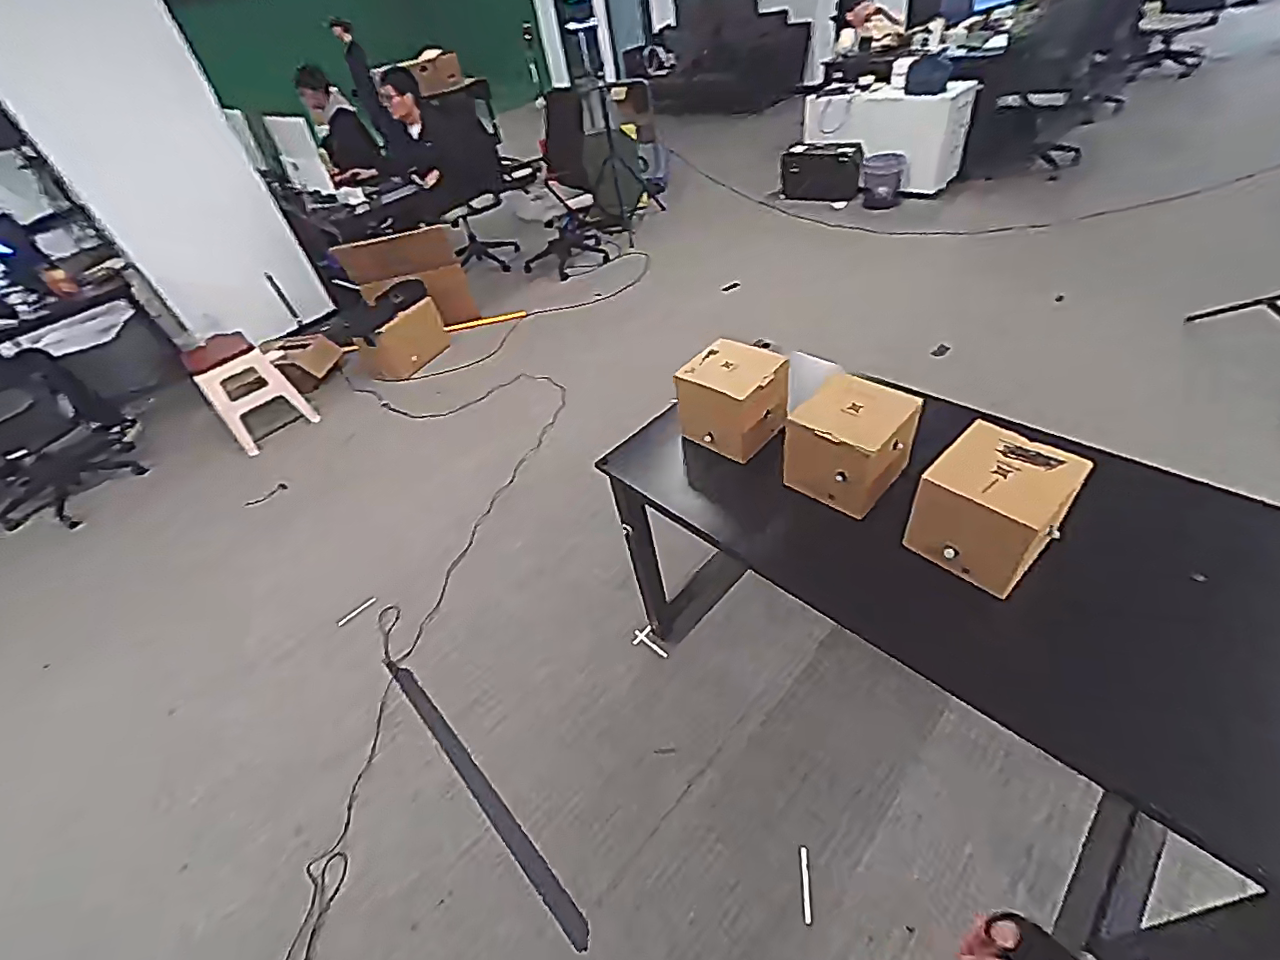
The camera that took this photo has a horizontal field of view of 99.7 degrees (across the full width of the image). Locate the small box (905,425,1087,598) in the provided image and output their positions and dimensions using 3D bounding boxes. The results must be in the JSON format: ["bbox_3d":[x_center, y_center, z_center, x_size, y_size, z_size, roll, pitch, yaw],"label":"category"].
[{"bbox_3d":[0.549,0.048,0.858,0.179,0.176,0.168,-36,48,-23],"label":"small box"}]

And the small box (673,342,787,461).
[{"bbox_3d":[0.194,-0.165,1.158,0.179,0.176,0.168,29,56,33],"label":"small box"}]

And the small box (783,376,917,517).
[{"bbox_3d":[0.384,-0.061,1.011,0.168,0.176,0.179,30,56,35],"label":"small box"}]
